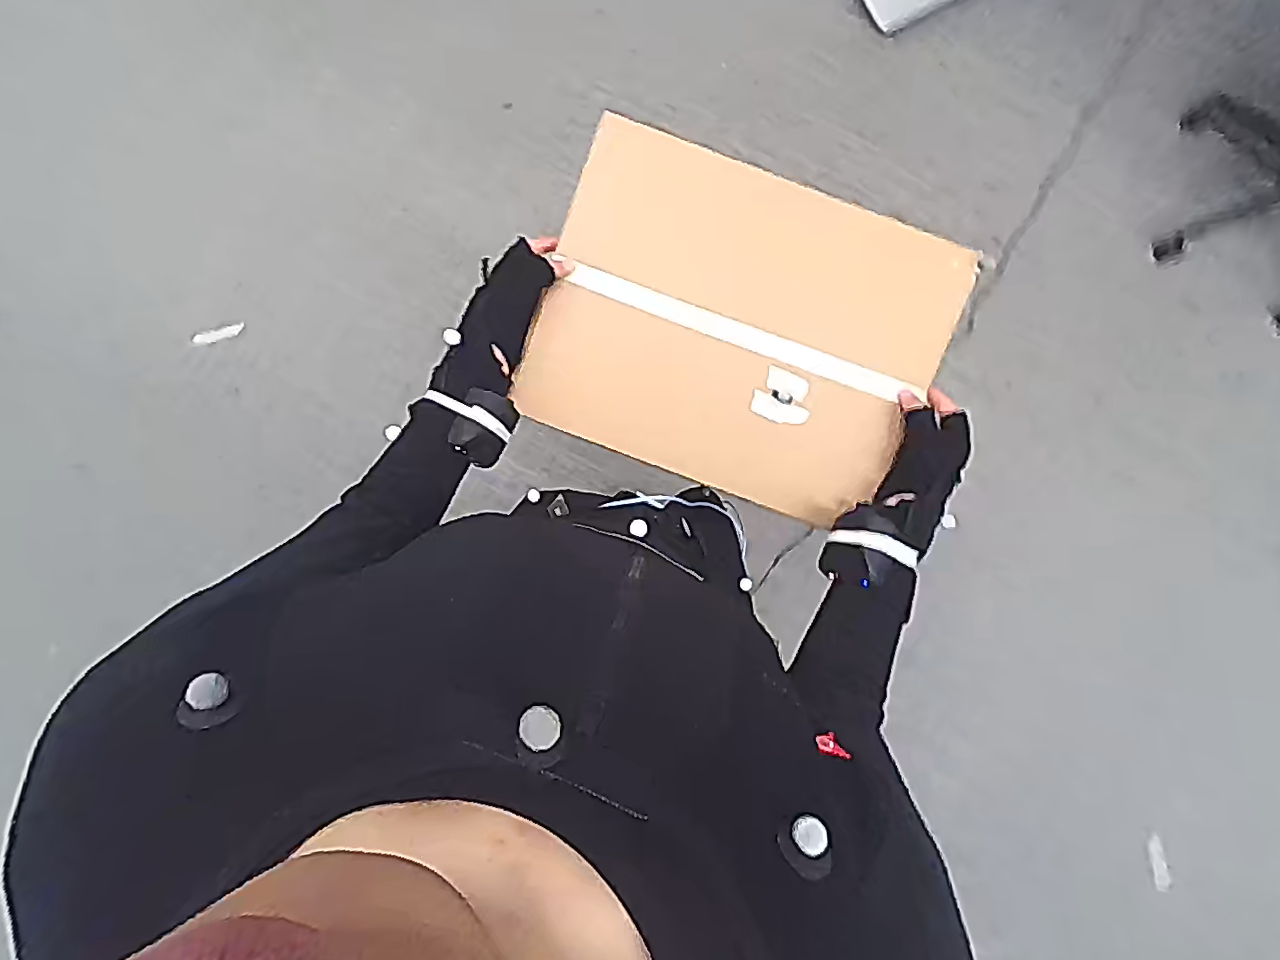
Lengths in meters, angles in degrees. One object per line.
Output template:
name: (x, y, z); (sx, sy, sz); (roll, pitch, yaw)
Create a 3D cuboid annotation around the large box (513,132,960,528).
large box: (0.098, -0.166, 0.717); (0.408, 0.320, 0.320); (20, 96, -1)
